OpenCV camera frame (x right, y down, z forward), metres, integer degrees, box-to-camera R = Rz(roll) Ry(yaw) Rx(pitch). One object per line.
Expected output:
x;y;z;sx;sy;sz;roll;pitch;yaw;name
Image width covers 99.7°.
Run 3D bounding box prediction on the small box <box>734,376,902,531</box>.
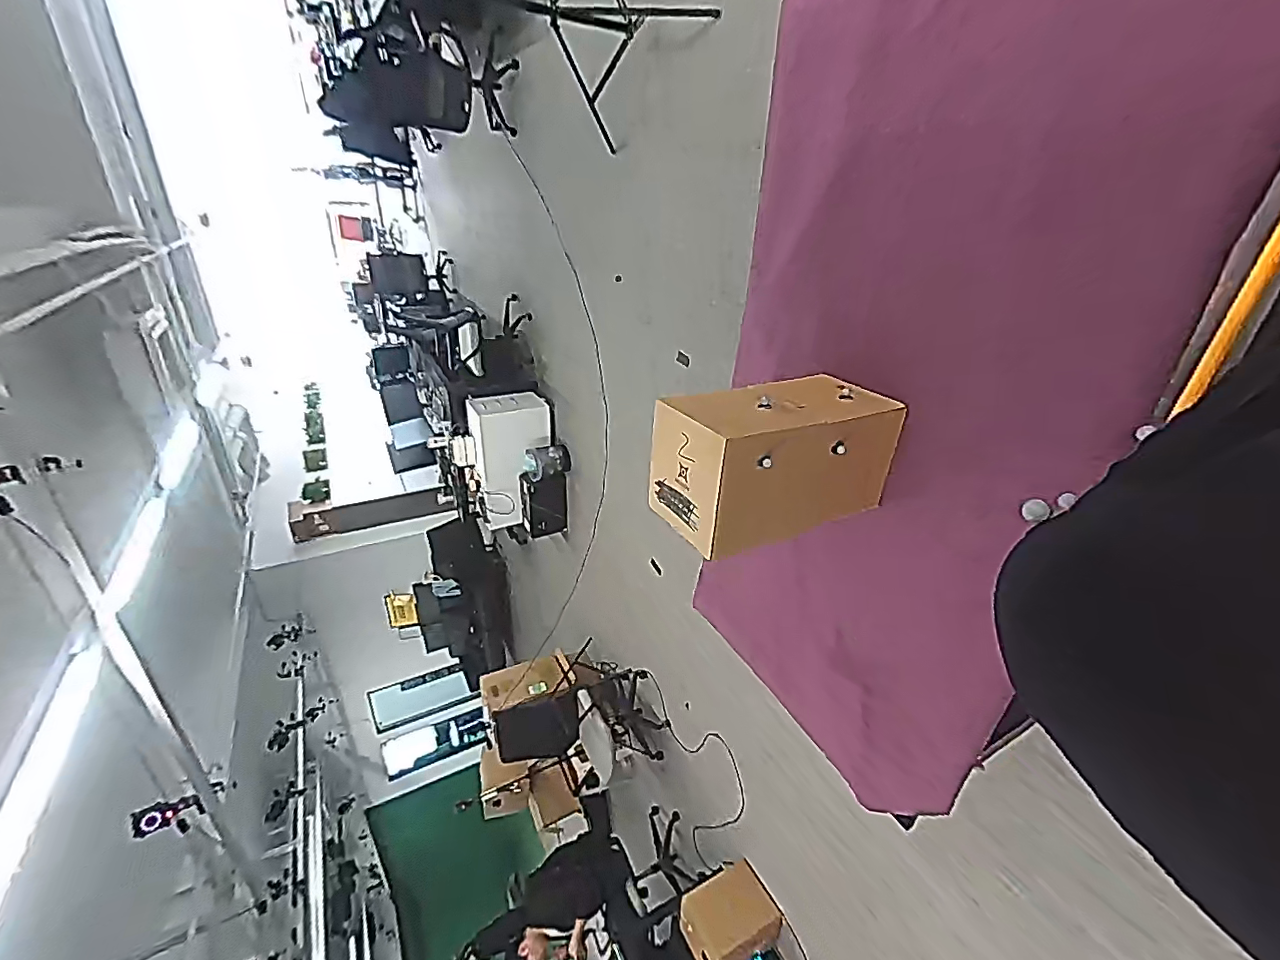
0.270;-0.050;0.836;0.168;0.176;0.179;42;136;50;small box
